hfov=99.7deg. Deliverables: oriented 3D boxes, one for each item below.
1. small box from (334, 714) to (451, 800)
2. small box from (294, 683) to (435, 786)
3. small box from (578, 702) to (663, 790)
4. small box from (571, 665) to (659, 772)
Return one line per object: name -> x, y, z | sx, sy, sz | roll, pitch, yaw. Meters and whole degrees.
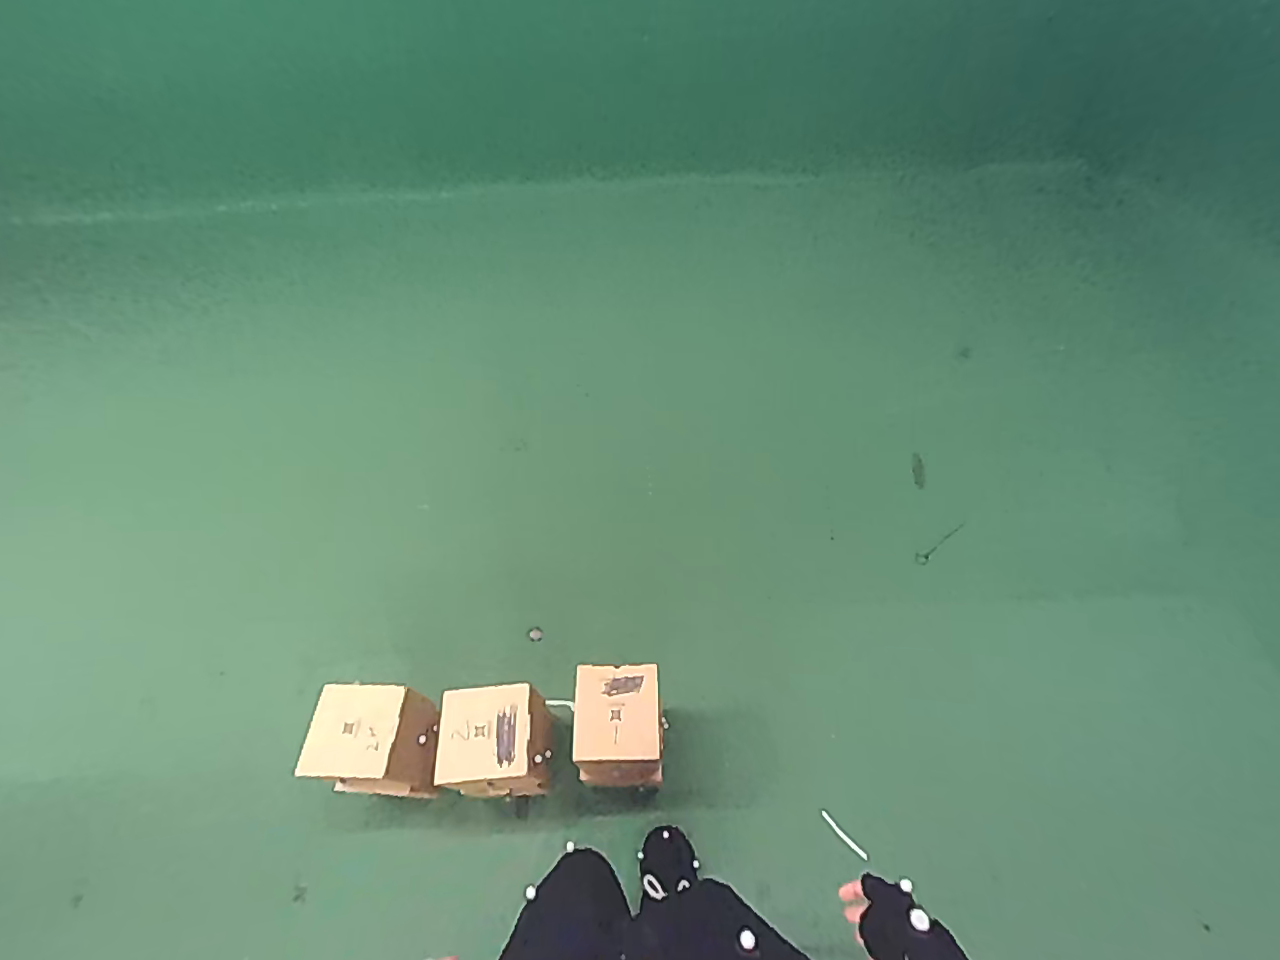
small box -> -0.555, 0.627, 1.242 | 0.168, 0.176, 0.179 | 1, 55, 4
small box -> -0.552, 0.526, 1.111 | 0.179, 0.176, 0.168 | 0, 56, 3
small box -> -0.038, 0.604, 1.233 | 0.179, 0.176, 0.168 | 0, 56, 2
small box -> -0.045, 0.493, 1.113 | 0.168, 0.176, 0.179 | -1, 56, 1
